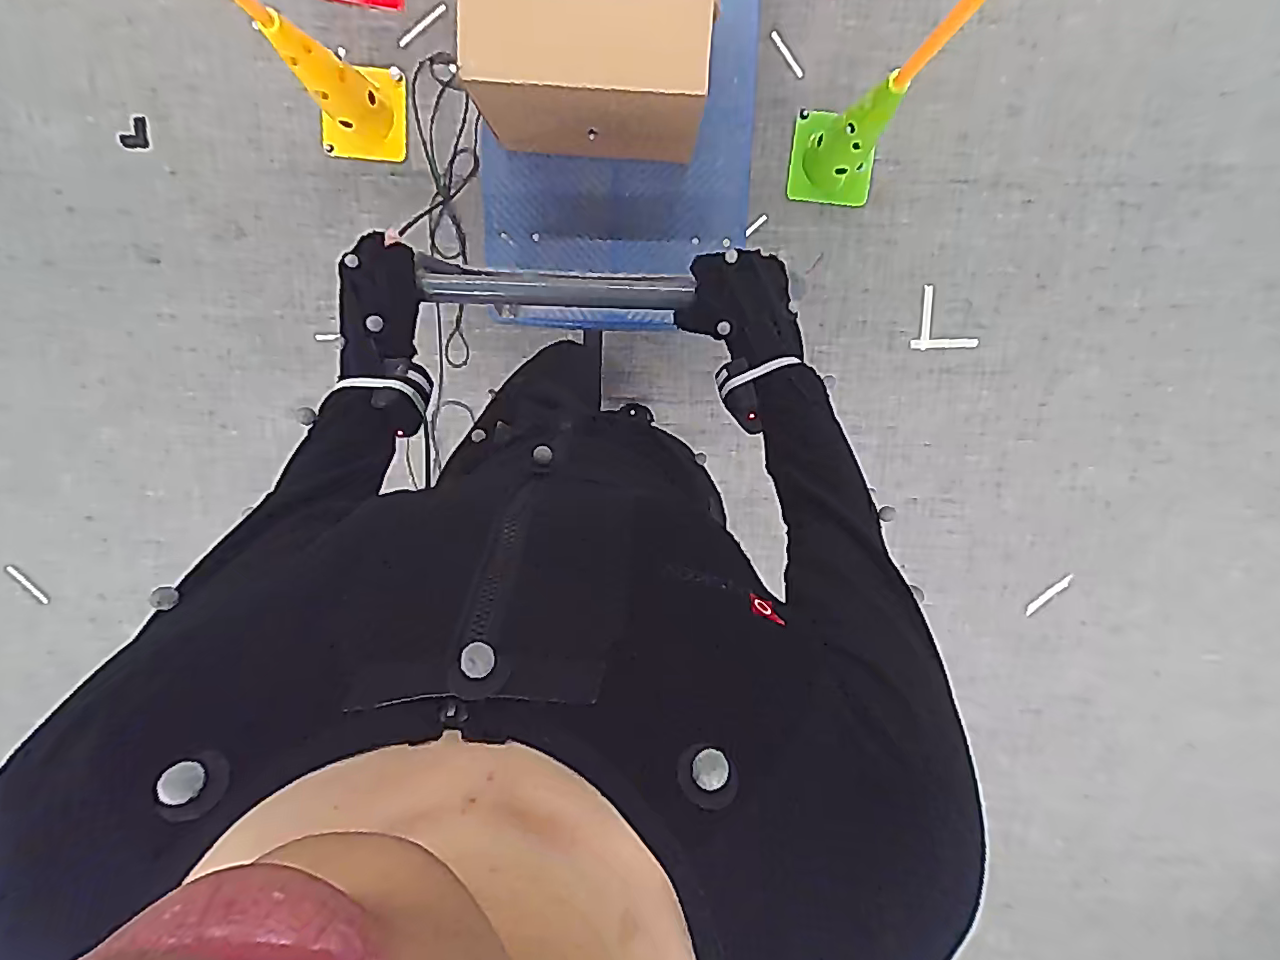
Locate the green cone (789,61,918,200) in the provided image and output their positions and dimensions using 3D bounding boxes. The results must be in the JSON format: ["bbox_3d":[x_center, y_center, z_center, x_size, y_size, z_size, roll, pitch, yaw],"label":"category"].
[{"bbox_3d":[0.472,-0.759,1.142,0.202,0.368,0.200,5,101,-2],"label":"green cone"}]

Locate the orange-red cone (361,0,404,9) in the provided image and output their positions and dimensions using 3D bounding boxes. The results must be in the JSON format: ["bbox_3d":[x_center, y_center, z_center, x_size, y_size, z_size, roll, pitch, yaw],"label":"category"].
[{"bbox_3d":[-0.629,-1.175,1.070,0.198,0.360,0.199,9,100,-2],"label":"orange-red cone"}]

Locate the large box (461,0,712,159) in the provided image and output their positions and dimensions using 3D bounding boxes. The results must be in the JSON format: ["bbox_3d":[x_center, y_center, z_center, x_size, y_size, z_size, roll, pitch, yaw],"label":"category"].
[{"bbox_3d":[-0.080,-0.813,0.991,0.408,0.320,0.320,3,102,1],"label":"large box"}]
